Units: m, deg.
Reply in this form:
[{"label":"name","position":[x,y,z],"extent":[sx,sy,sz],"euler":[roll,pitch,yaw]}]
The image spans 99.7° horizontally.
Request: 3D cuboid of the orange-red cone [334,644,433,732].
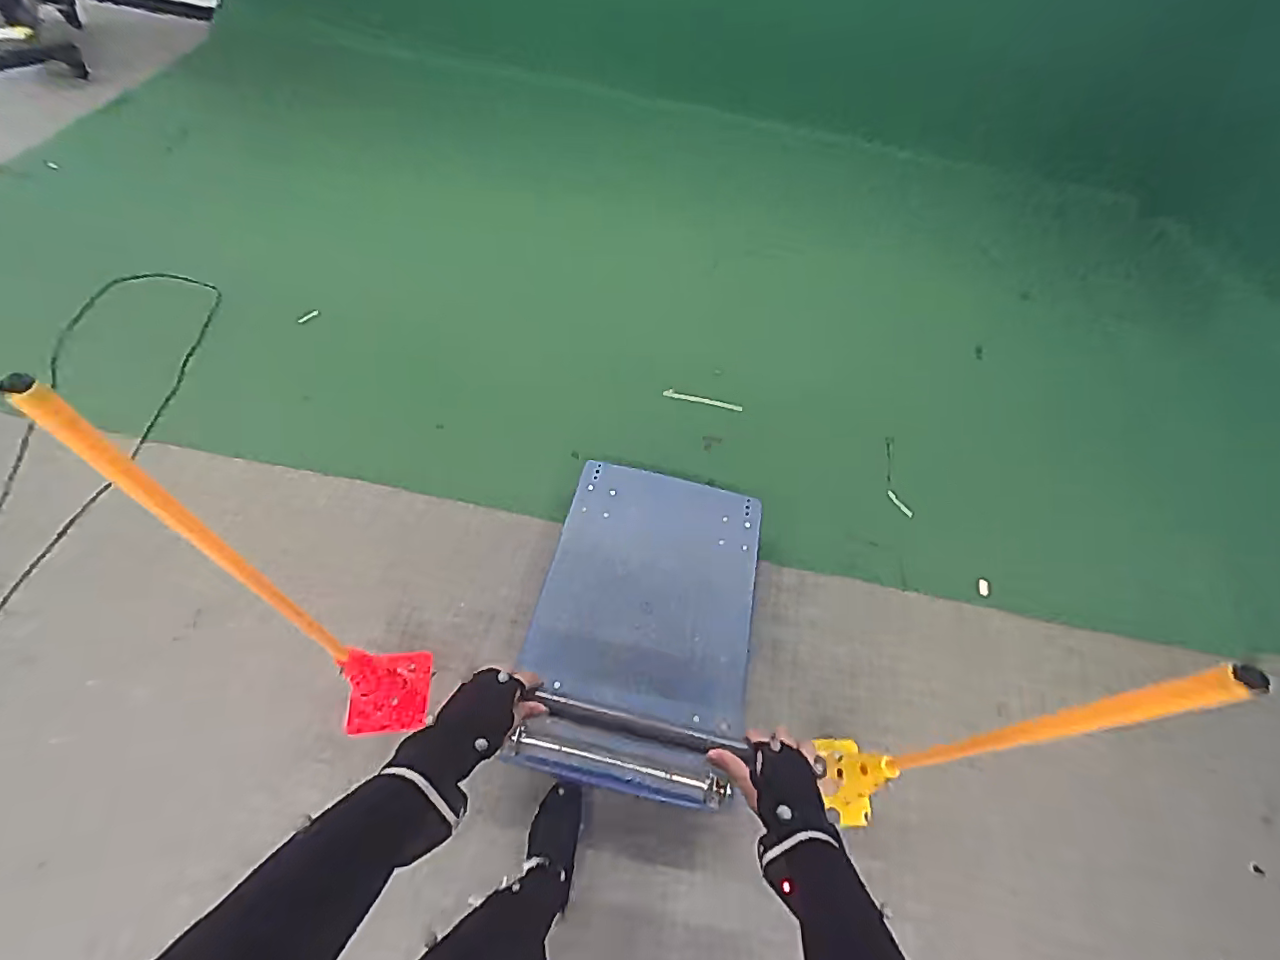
[{"label":"orange-red cone","position":[-0.651,0.467,1.297],"extent":[0.199,0.360,0.198],"euler":[-2,57,-6]}]
